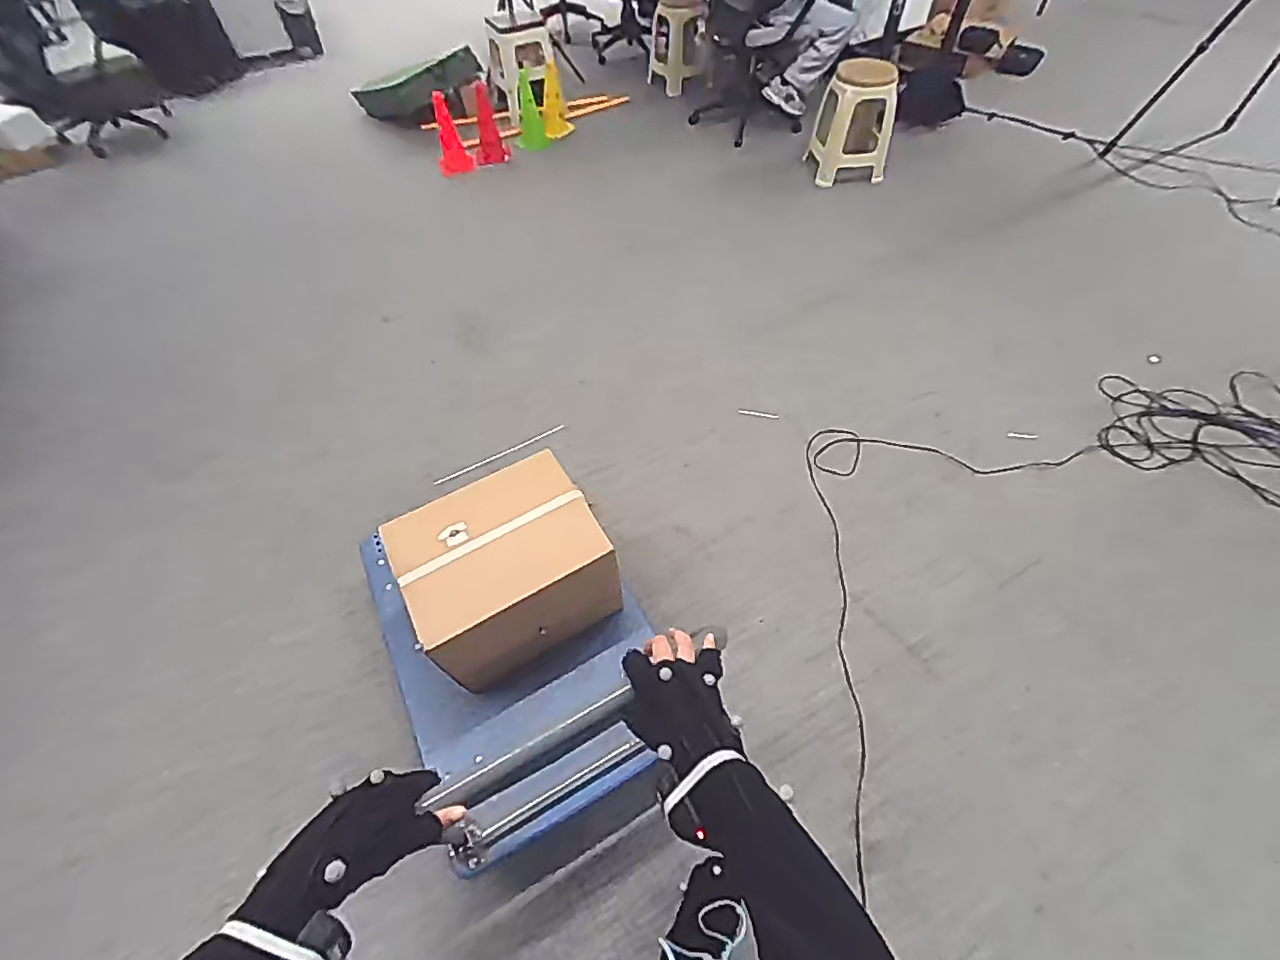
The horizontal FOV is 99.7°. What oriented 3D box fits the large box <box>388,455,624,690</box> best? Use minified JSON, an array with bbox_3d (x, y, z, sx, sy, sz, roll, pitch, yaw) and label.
[{"bbox_3d":[-0.288,0.217,1.256,0.408,0.320,0.320,-28,58,-15],"label":"large box"}]
